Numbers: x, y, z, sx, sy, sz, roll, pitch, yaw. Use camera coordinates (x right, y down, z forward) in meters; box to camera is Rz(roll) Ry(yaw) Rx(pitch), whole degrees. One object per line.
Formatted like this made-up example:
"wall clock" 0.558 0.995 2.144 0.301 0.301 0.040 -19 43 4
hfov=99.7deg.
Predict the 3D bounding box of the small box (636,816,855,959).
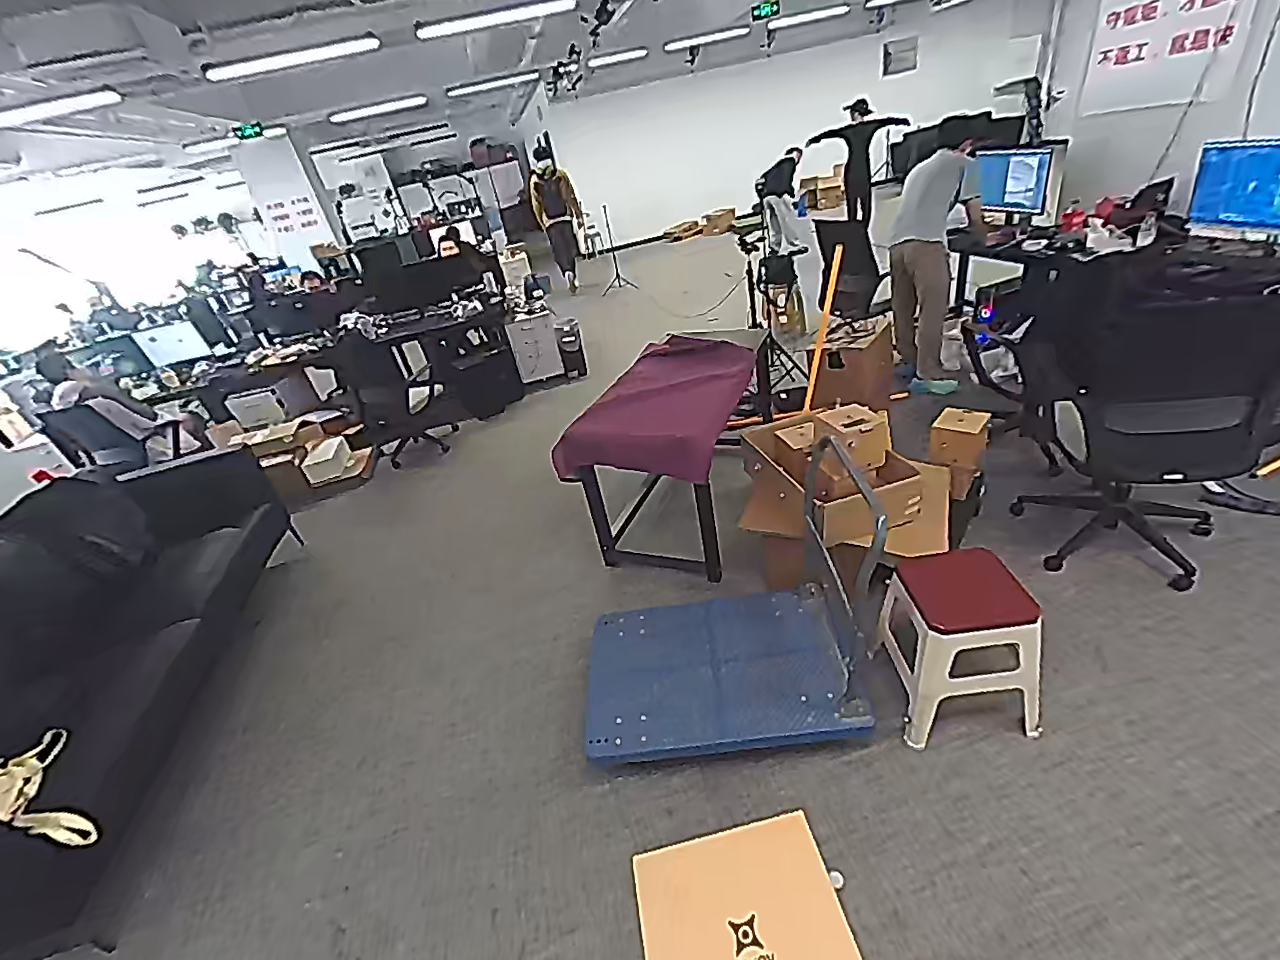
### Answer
"small box" 0.099 0.444 0.478 0.168 0.176 0.179 -14 33 -1
